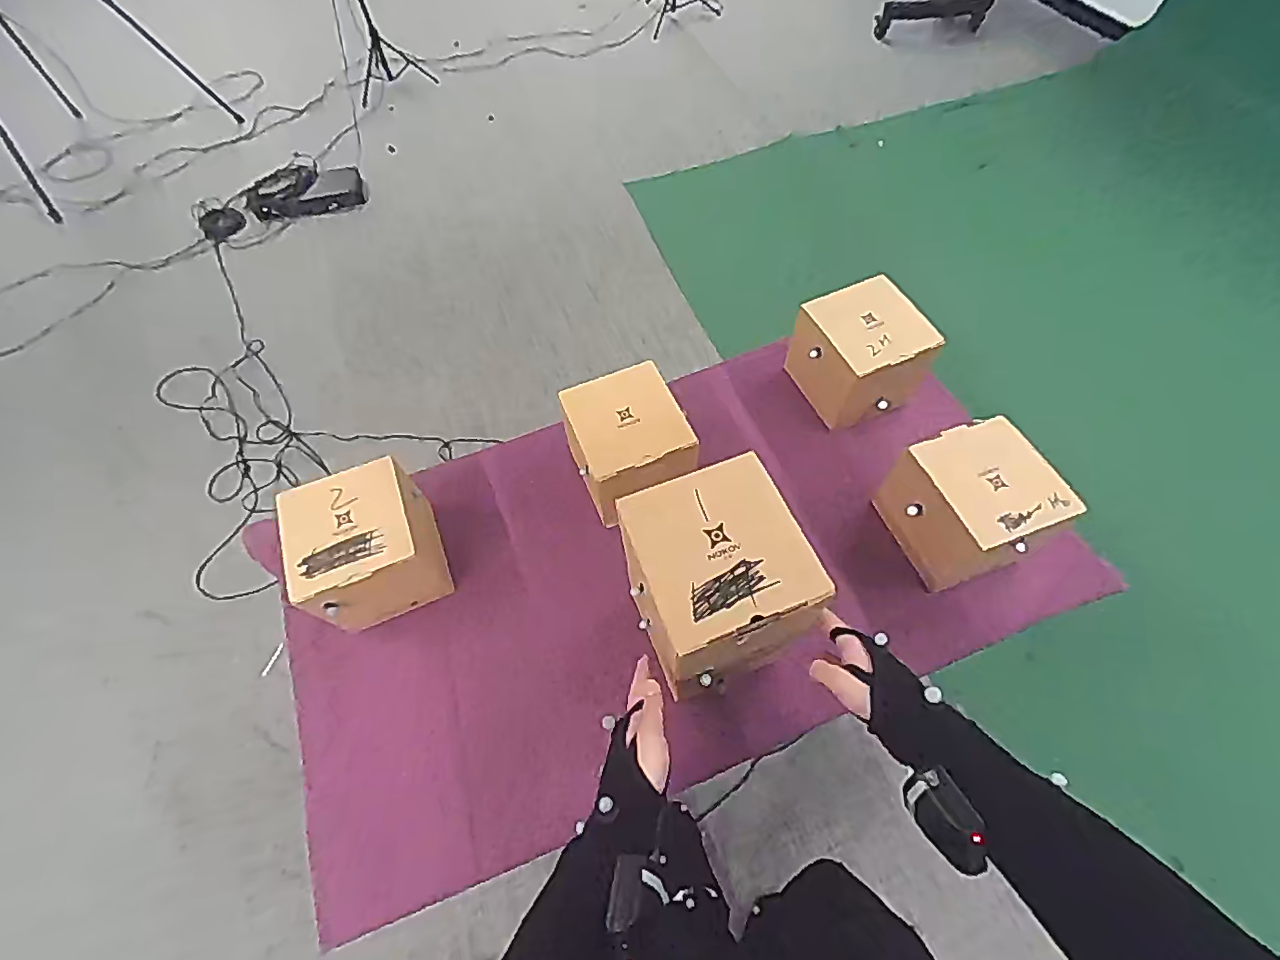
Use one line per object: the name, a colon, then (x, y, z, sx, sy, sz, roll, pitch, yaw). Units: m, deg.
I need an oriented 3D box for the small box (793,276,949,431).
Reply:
small box: (0.392, -0.220, 0.959, 0.168, 0.176, 0.179, -22, 63, -7)

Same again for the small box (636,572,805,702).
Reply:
small box: (0.096, 0.183, 0.746, 0.168, 0.176, 0.179, -19, 61, -8)

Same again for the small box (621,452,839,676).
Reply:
small box: (0.089, 0.103, 0.603, 0.168, 0.176, 0.179, -19, 60, -8)

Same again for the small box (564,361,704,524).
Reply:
small box: (-0.013, -0.057, 0.886, 0.168, 0.176, 0.179, -21, 63, -10)

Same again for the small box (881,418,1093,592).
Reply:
small box: (0.497, 0.041, 0.811, 0.168, 0.176, 0.179, -18, 59, -7)
